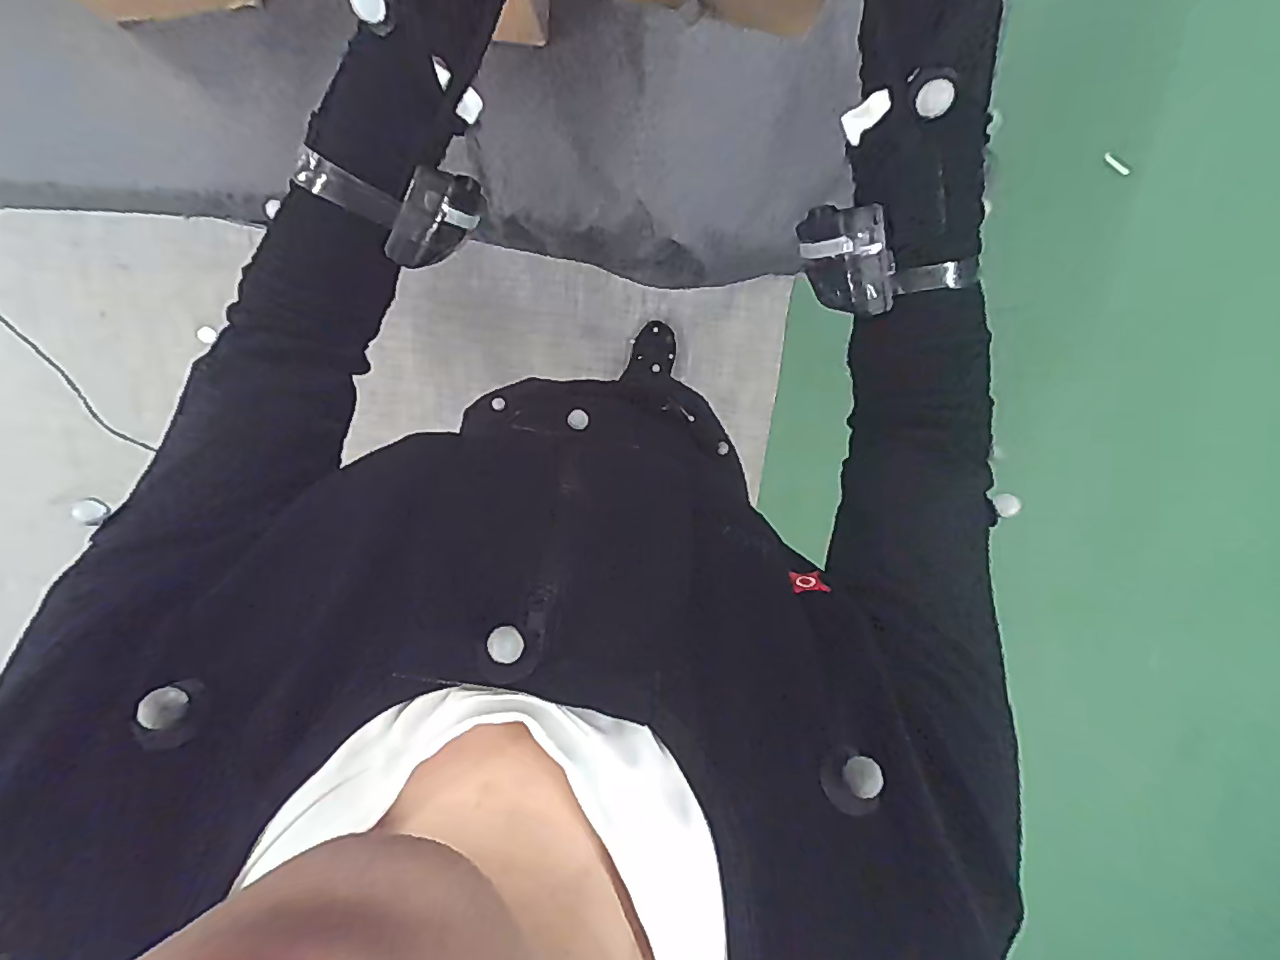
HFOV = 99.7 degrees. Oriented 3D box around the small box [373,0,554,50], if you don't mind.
[{"bbox_3d":[-0.177,-0.534,0.496,0.179,0.176,0.168,6,106,-1],"label":"small box"}]
